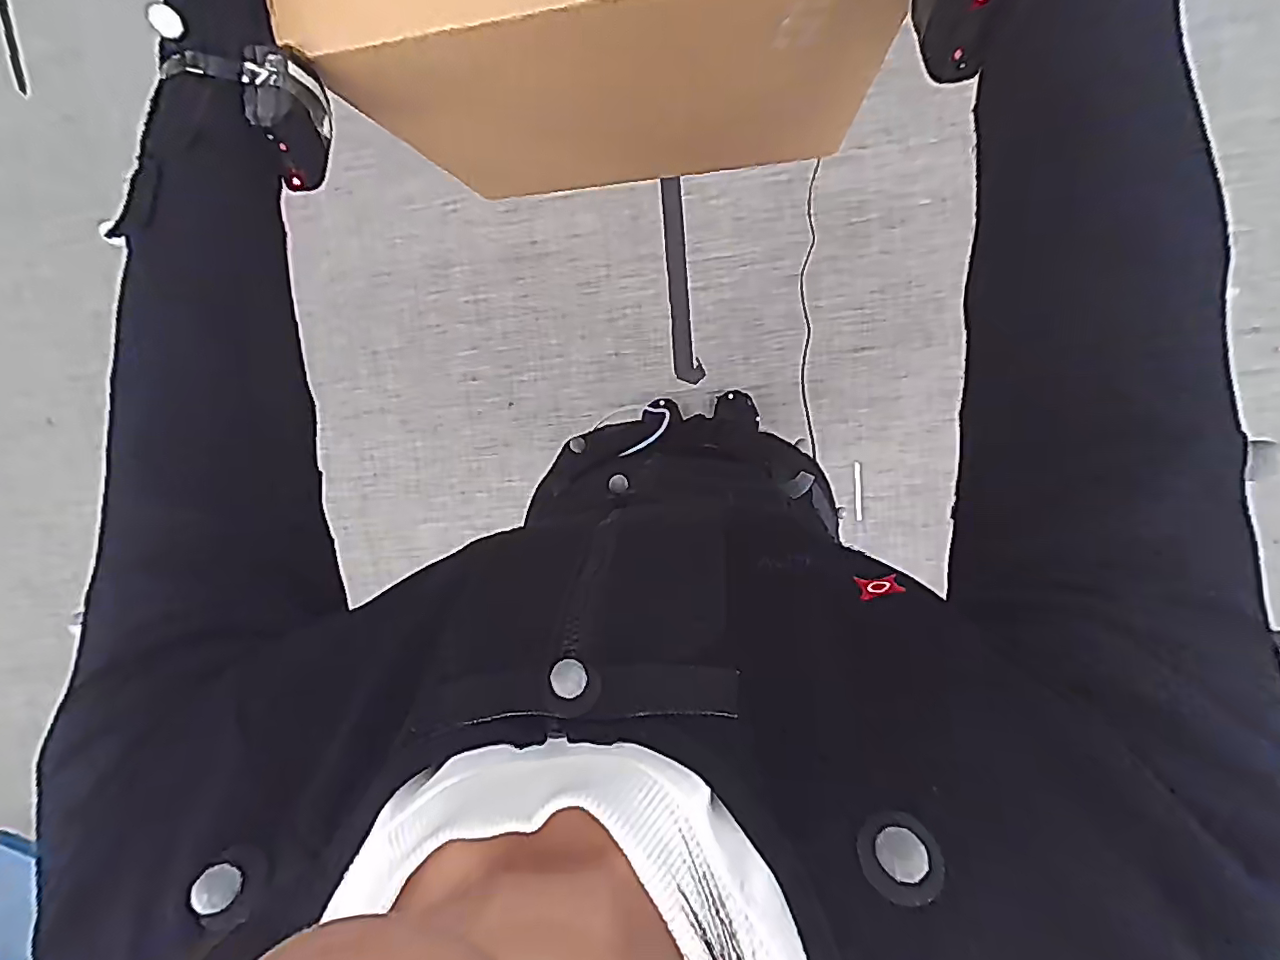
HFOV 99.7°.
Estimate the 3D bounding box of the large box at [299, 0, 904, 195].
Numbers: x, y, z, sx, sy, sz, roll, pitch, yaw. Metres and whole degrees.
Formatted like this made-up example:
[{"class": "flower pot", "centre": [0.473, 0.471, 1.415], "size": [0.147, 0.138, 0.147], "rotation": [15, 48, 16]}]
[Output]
[{"class": "large box", "centre": [-0.018, -0.470, 0.445], "size": [0.408, 0.320, 0.320], "rotation": [-3, 102, 9]}]
